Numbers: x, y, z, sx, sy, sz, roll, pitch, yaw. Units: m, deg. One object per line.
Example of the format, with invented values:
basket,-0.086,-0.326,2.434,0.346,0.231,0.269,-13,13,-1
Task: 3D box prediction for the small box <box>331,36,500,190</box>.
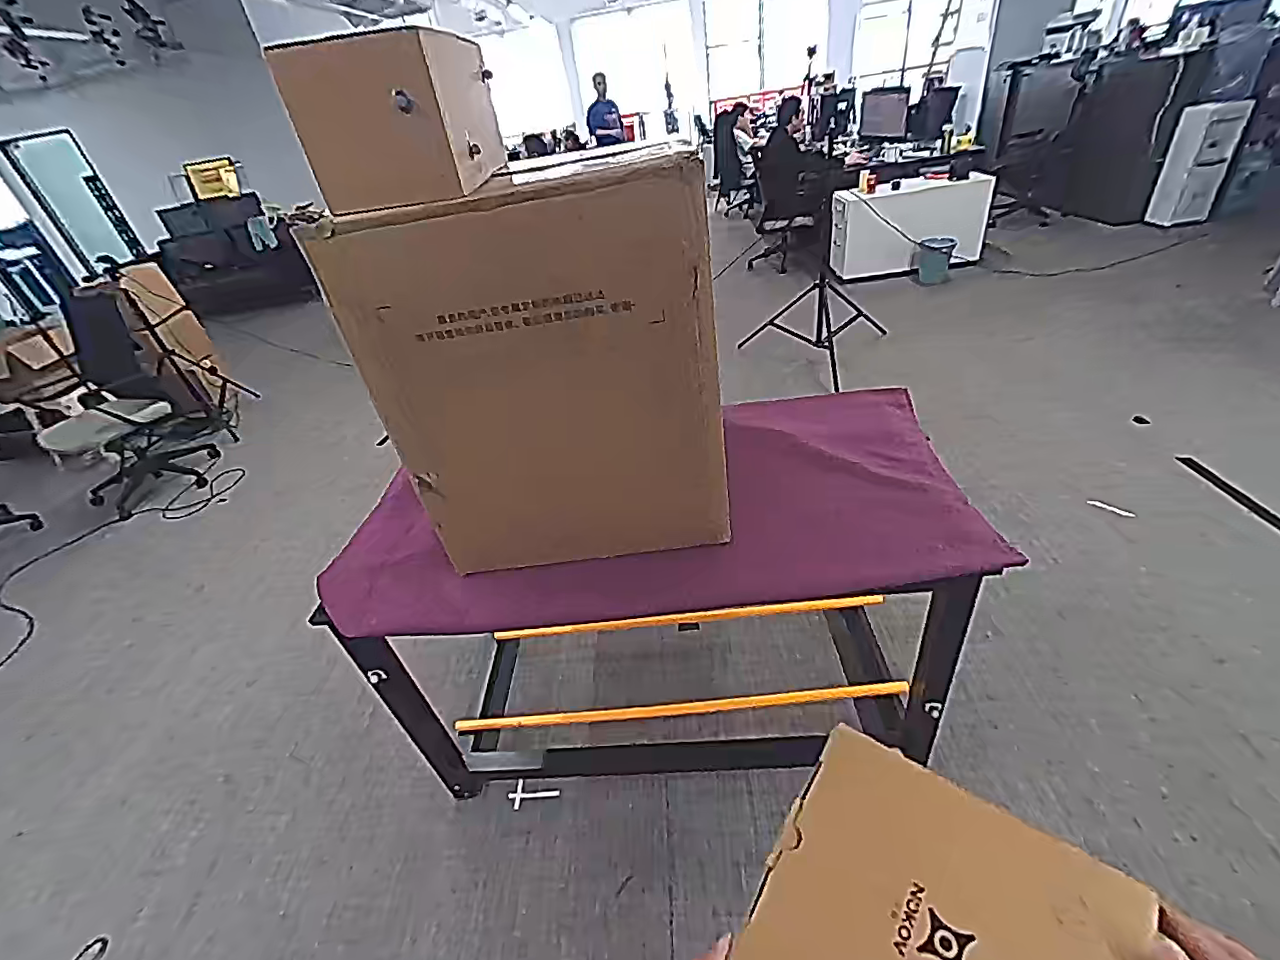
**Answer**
small box,-0.326,-0.556,0.831,0.168,0.176,0.179,-7,35,4
